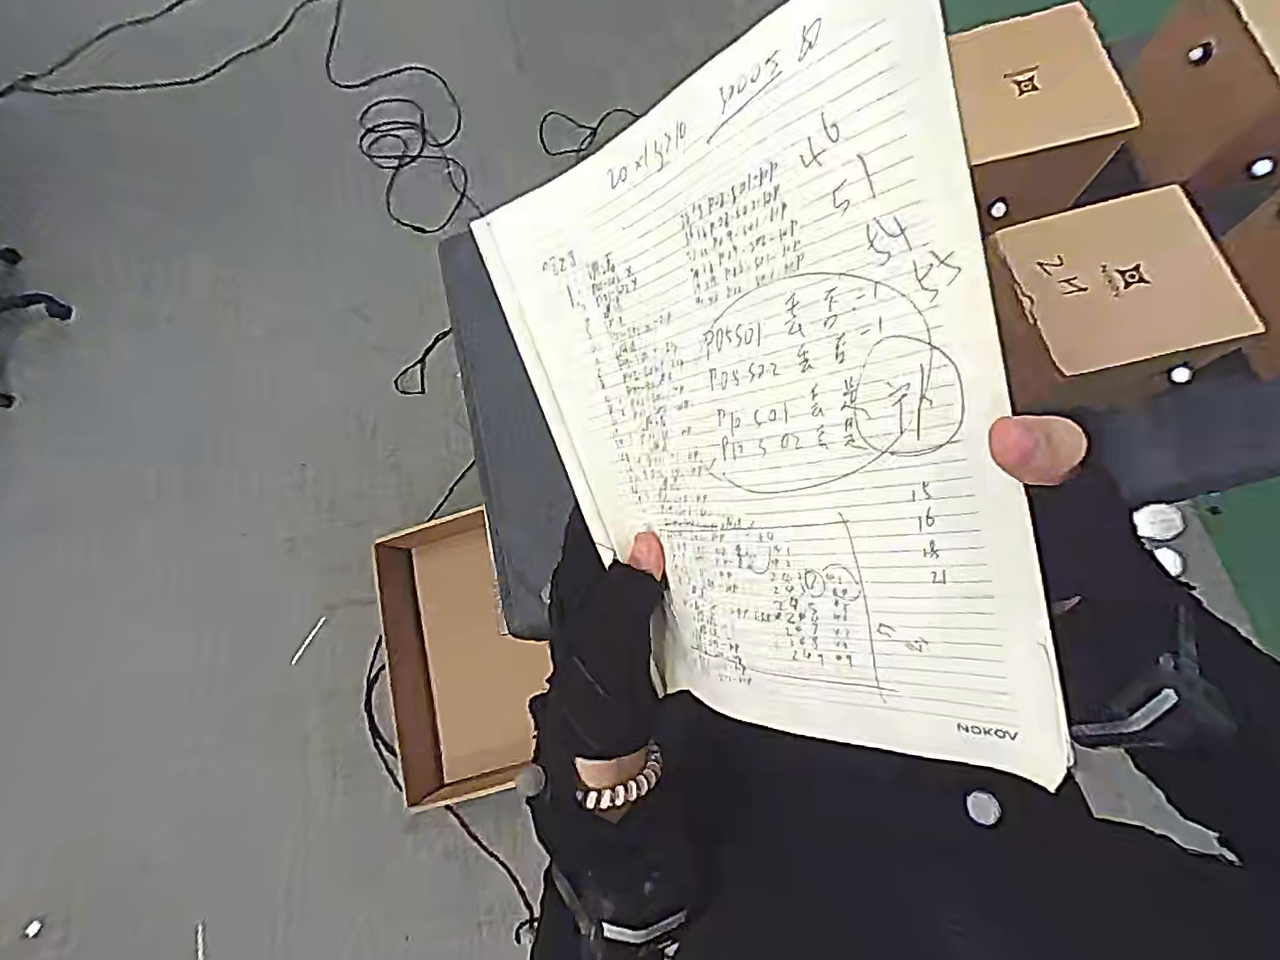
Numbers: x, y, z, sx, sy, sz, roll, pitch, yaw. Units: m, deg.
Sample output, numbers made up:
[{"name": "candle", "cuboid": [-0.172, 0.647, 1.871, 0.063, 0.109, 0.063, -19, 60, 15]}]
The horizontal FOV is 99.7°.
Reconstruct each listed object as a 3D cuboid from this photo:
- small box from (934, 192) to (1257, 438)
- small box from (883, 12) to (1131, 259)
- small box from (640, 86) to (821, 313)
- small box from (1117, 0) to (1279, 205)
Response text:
[{"name": "small box", "cuboid": [0.455, -0.161, 0.578, 0.179, 0.176, 0.168, -13, 73, 6]}, {"name": "small box", "cuboid": [0.415, -0.392, 0.649, 0.168, 0.176, 0.179, -11, 74, 6]}, {"name": "small box", "cuboid": [0.106, -0.337, 0.680, 0.179, 0.176, 0.168, -12, 73, 5]}, {"name": "small box", "cuboid": [0.697, -0.453, 0.618, 0.168, 0.176, 0.179, -11, 75, 6]}]
